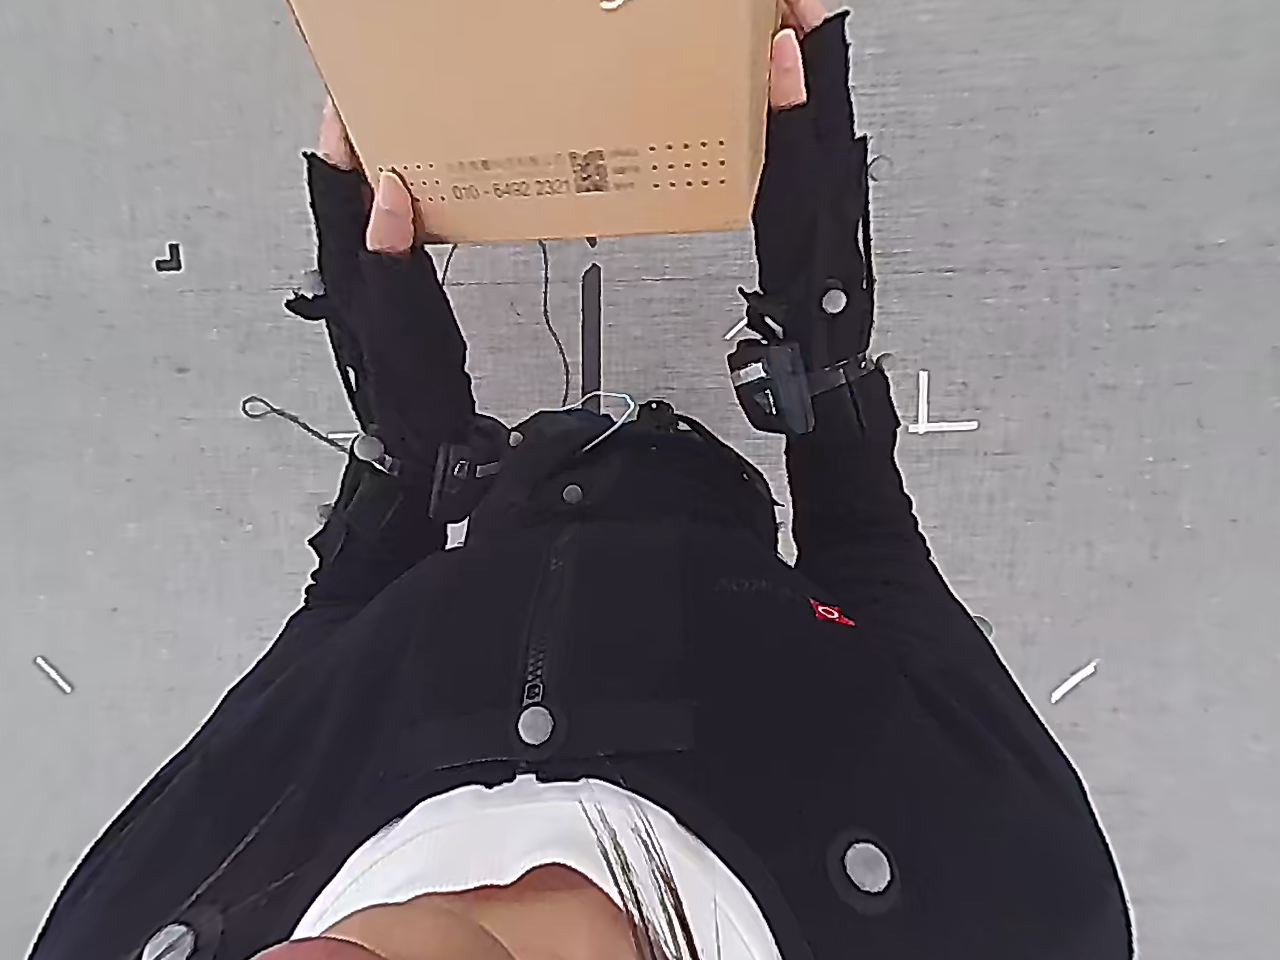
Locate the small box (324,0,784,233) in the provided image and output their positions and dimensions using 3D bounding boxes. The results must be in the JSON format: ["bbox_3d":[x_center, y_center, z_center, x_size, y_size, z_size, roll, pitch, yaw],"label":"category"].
[{"bbox_3d":[-0.025,-0.229,0.250,0.168,0.179,0.176,6,138,17],"label":"small box"}]
